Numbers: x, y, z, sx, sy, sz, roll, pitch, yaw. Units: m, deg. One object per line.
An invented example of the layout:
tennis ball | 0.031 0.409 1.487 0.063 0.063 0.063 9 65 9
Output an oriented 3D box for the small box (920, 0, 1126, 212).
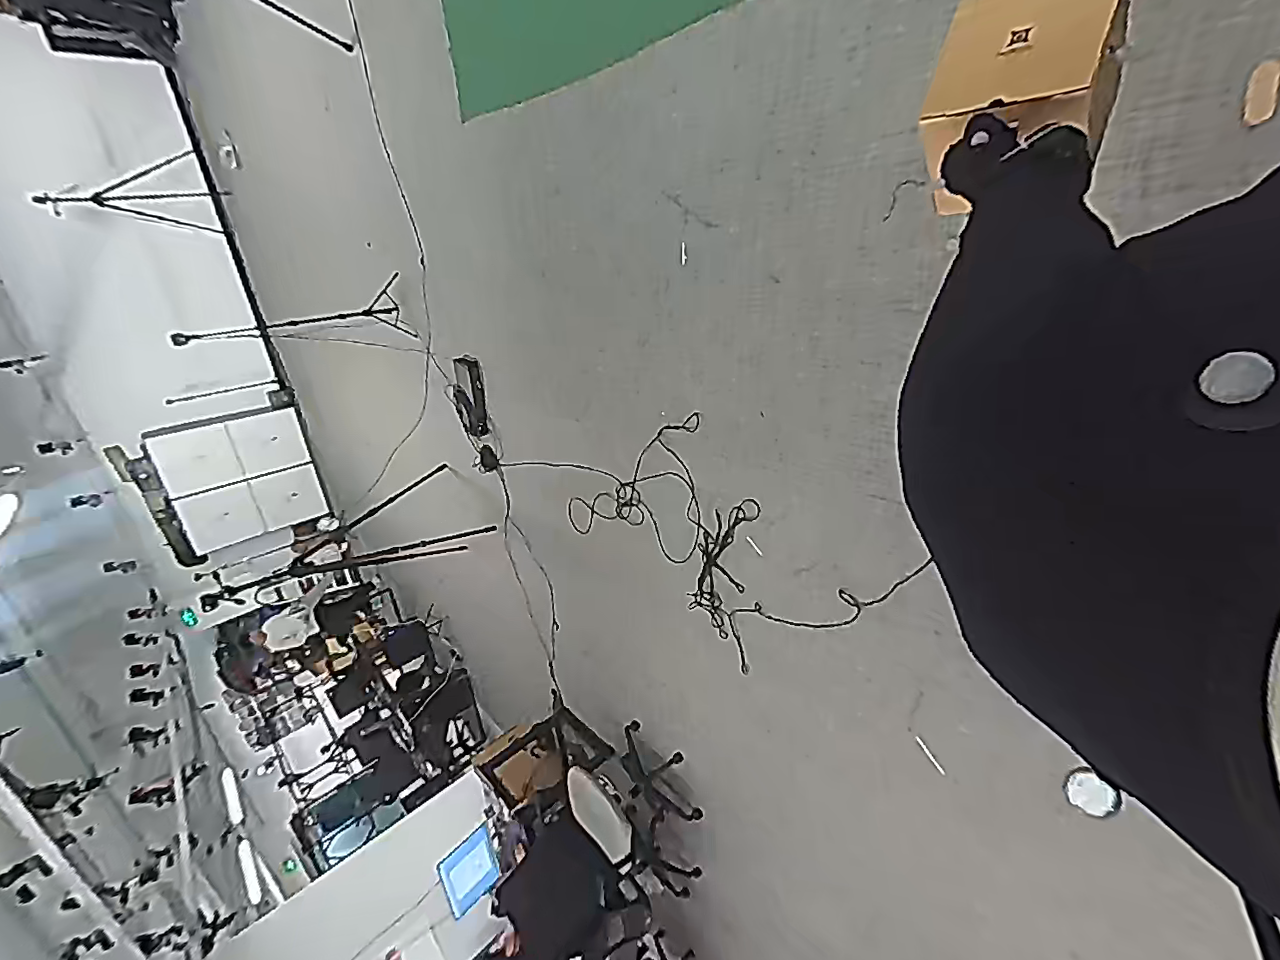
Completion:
small box | 0.474 -0.471 0.675 0.168 0.176 0.179 17 85 39
